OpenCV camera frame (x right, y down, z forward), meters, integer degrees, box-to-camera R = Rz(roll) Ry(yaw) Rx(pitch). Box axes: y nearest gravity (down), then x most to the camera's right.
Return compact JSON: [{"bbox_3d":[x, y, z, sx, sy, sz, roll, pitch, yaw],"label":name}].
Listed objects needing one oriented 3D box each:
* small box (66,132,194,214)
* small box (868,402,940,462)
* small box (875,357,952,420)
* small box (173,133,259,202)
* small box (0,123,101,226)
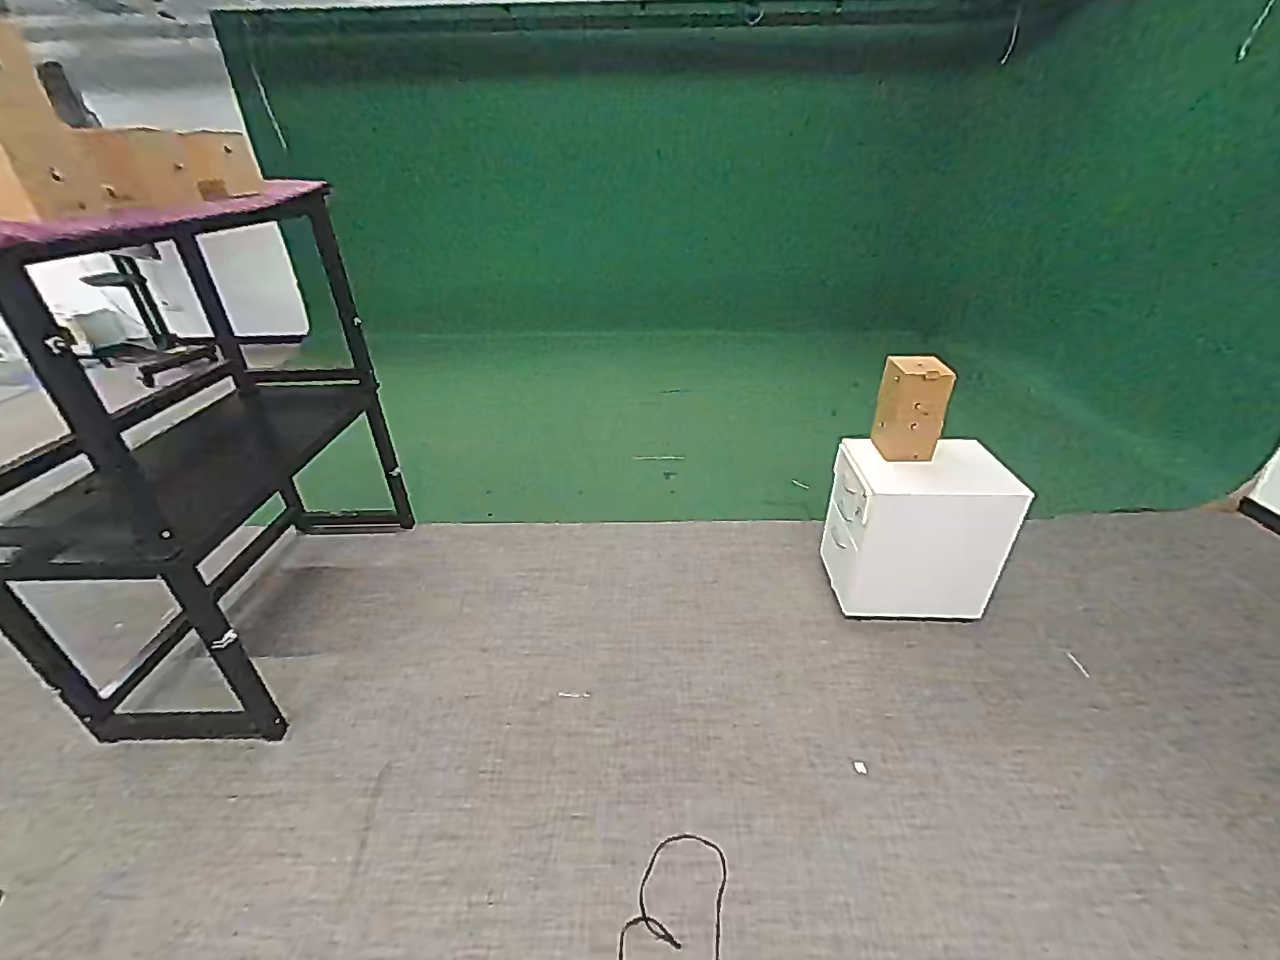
[{"bbox_3d":[-1.271,-0.768,1.351,0.168,0.176,0.179,-2,32,-1],"label":"small box"},{"bbox_3d":[0.952,-0.179,1.967,0.168,0.176,0.179,0,32,2],"label":"small box"},{"bbox_3d":[0.943,-0.320,1.885,0.168,0.176,0.179,1,33,1],"label":"small box"},{"bbox_3d":[-1.298,-0.937,1.625,0.168,0.176,0.179,-2,31,3],"label":"small box"},{"bbox_3d":[-1.237,-0.595,1.057,0.179,0.176,0.168,-2,30,-2],"label":"small box"}]
